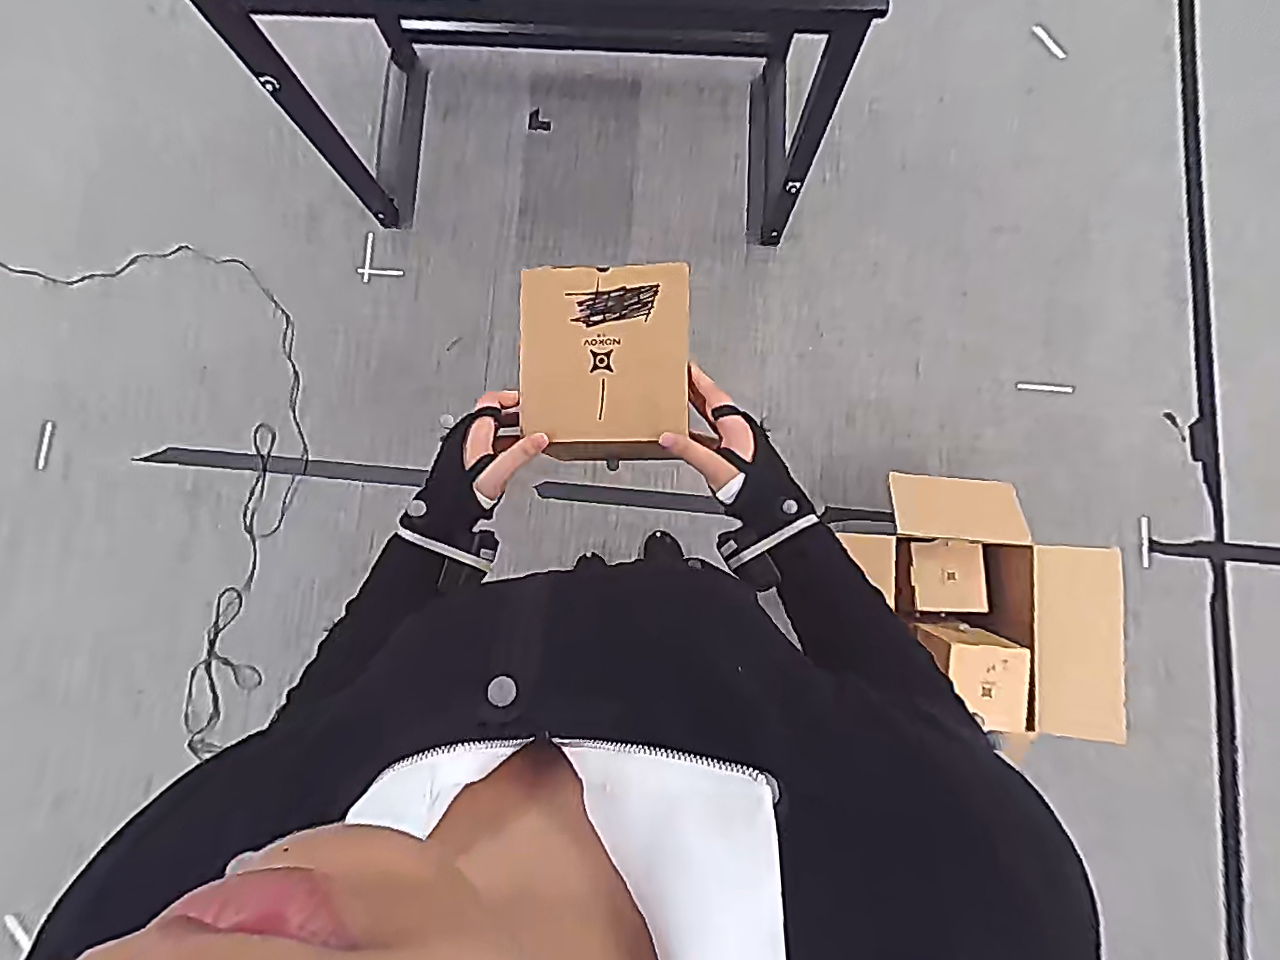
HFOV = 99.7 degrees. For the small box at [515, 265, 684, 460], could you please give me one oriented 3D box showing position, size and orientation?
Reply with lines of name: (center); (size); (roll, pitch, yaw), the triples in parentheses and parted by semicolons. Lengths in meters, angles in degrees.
small box: (-0.034, -0.119, 0.608); (0.168, 0.176, 0.179); (0, 87, 5)
